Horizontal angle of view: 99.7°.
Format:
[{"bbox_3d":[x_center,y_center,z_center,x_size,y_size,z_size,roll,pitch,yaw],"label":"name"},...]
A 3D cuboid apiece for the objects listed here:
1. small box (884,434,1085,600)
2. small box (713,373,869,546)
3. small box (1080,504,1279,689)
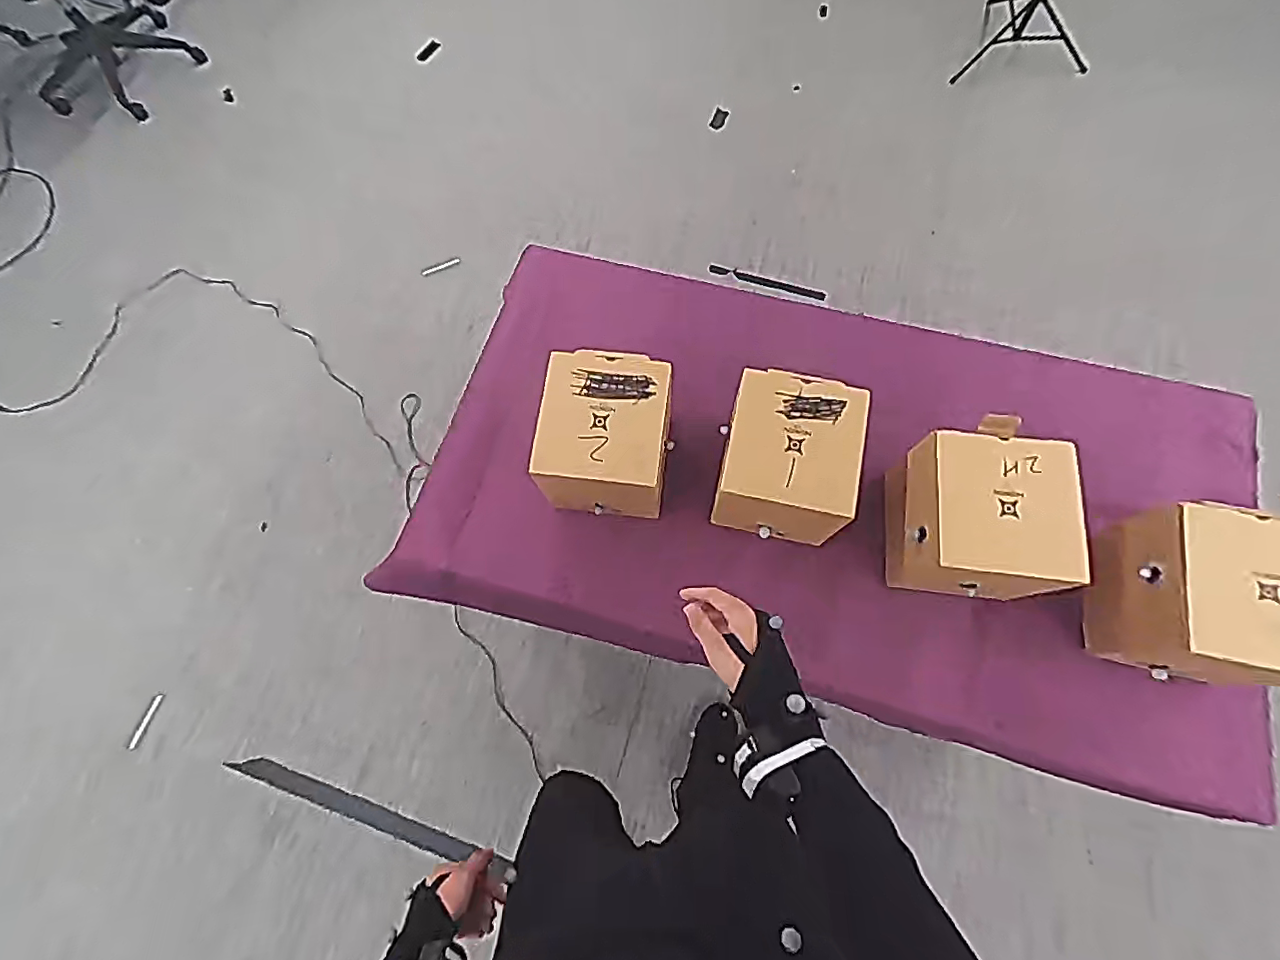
[{"bbox_3d":[0.440,0.058,0.720,0.168,0.176,0.179,7,71,5],"label":"small box"},{"bbox_3d":[0.202,-0.021,0.761,0.168,0.176,0.179,12,73,7],"label":"small box"},{"bbox_3d":[0.692,0.151,0.675,0.168,0.176,0.179,12,72,8],"label":"small box"}]
